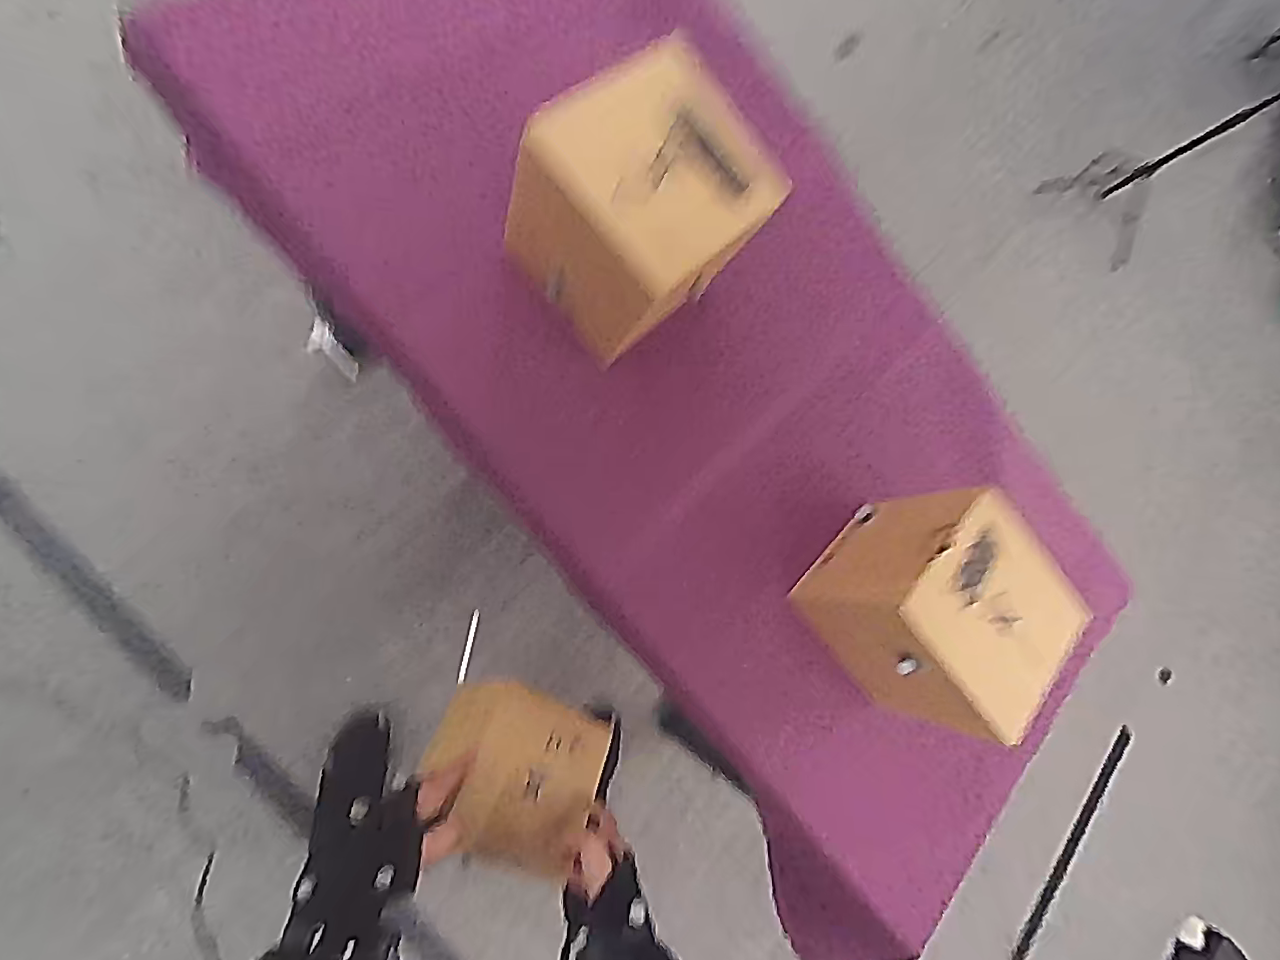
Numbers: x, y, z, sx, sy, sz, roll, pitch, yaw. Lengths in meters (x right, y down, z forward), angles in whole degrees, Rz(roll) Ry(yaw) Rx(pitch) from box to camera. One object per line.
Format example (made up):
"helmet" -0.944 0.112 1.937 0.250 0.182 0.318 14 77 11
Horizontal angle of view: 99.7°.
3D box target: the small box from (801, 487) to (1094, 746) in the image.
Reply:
"small box" 0.307 0.132 0.566 0.168 0.176 0.179 -42 97 -20
